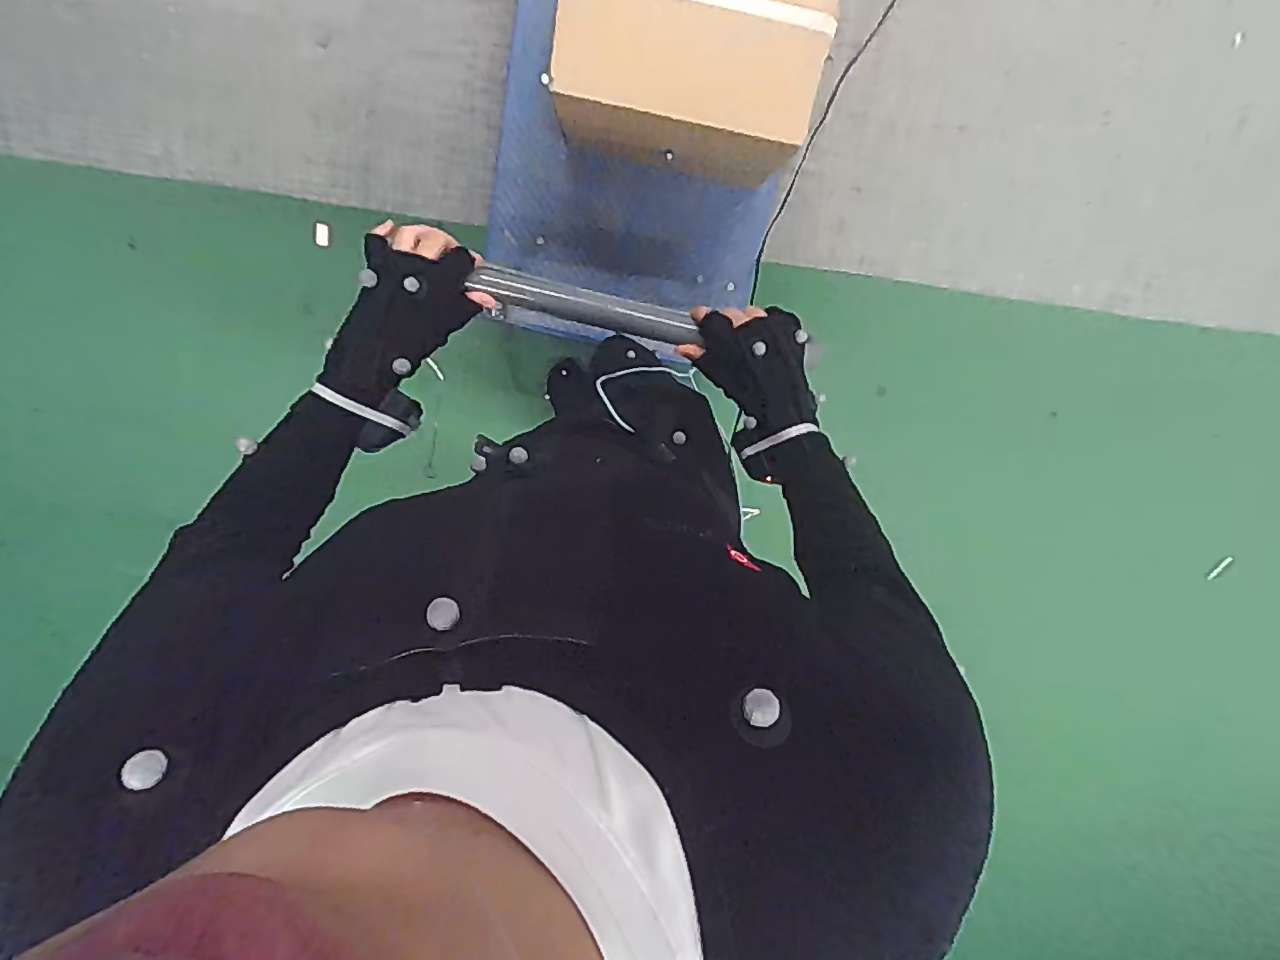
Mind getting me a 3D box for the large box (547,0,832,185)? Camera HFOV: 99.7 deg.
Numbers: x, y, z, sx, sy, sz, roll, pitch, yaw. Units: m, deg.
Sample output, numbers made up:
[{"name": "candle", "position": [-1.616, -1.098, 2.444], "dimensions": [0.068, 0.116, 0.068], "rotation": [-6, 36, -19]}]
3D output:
[{"name": "large box", "position": [0.080, -0.740, 0.929], "dimensions": [0.408, 0.320, 0.320], "rotation": [10, 106, -4]}]
